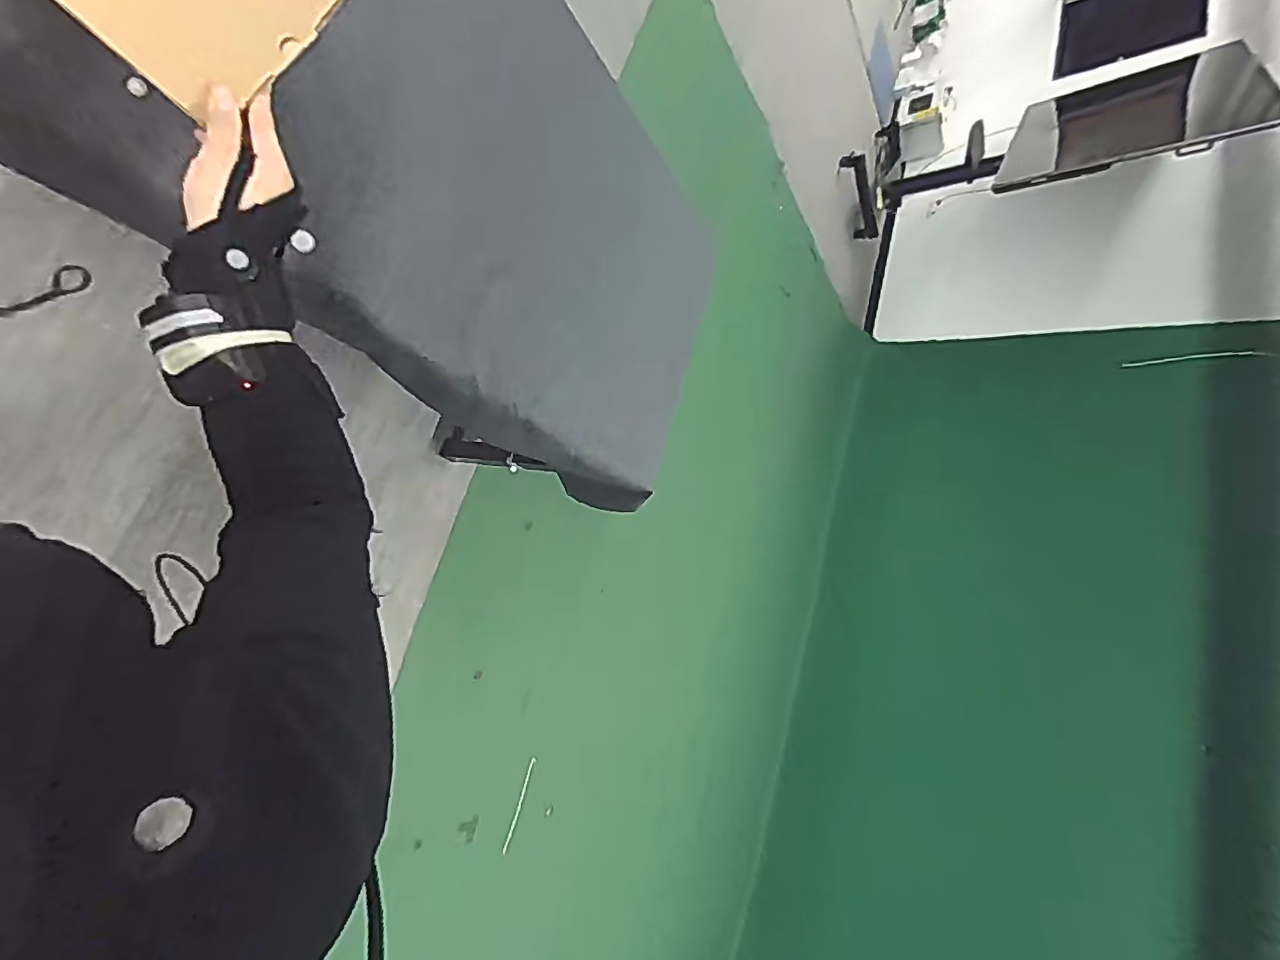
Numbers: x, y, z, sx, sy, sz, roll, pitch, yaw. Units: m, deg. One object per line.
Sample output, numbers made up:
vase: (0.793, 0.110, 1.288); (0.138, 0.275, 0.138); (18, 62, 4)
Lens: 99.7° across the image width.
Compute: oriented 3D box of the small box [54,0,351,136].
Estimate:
small box: (-0.329, -0.376, 0.351); (0.168, 0.176, 0.179); (-48, 151, 0)
